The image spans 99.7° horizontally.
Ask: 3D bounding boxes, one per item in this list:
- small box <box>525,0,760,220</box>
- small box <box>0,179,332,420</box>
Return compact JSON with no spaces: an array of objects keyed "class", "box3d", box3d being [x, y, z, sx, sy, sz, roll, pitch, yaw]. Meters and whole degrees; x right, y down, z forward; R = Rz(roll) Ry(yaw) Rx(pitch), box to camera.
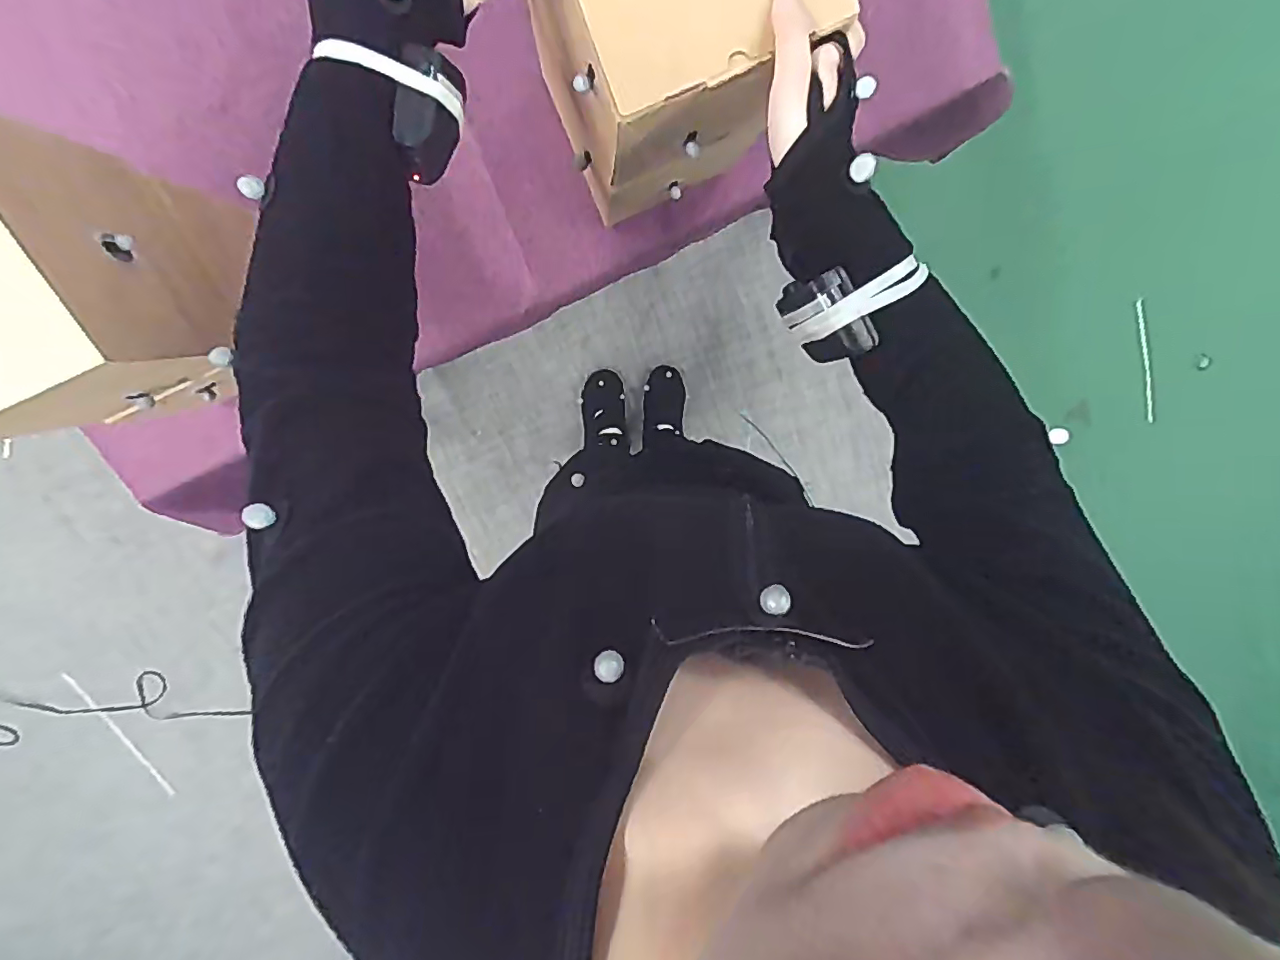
[{"class":"small box","box3d":[0.001,-0.391,0.560,0.168,0.176,0.179,-23,106,2]},{"class":"small box","box3d":[-0.478,-0.181,0.576,0.179,0.176,0.168,-24,106,1]}]
